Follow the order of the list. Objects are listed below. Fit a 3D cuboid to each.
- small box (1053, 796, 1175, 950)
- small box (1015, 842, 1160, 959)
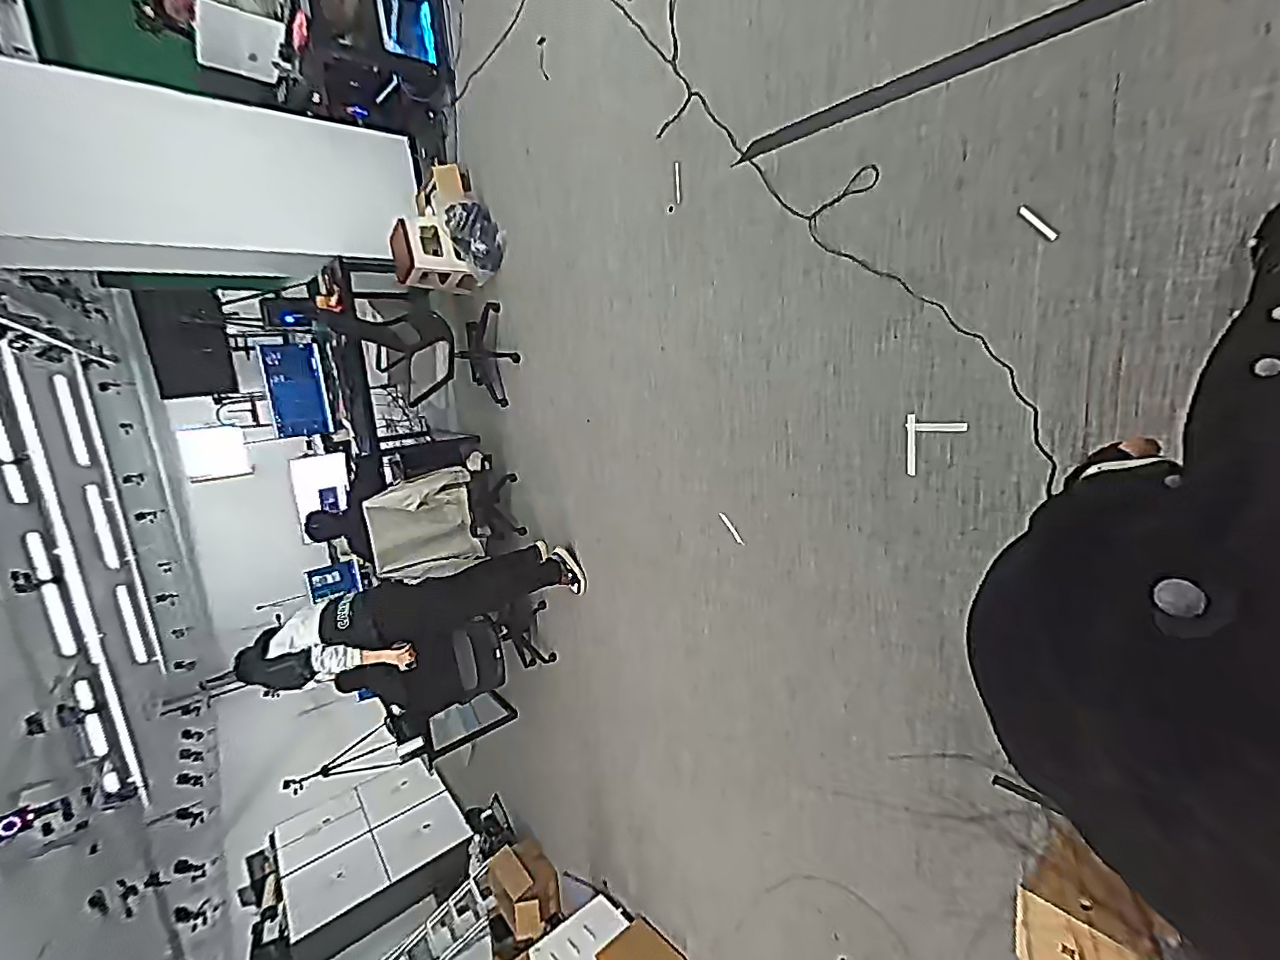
[{"bbox_3d":[0.983,0.810,1.128,0.168,0.176,0.179,8,108,53],"label":"small box"},{"bbox_3d":[0.853,0.841,1.035,0.179,0.176,0.168,7,106,52],"label":"small box"}]
